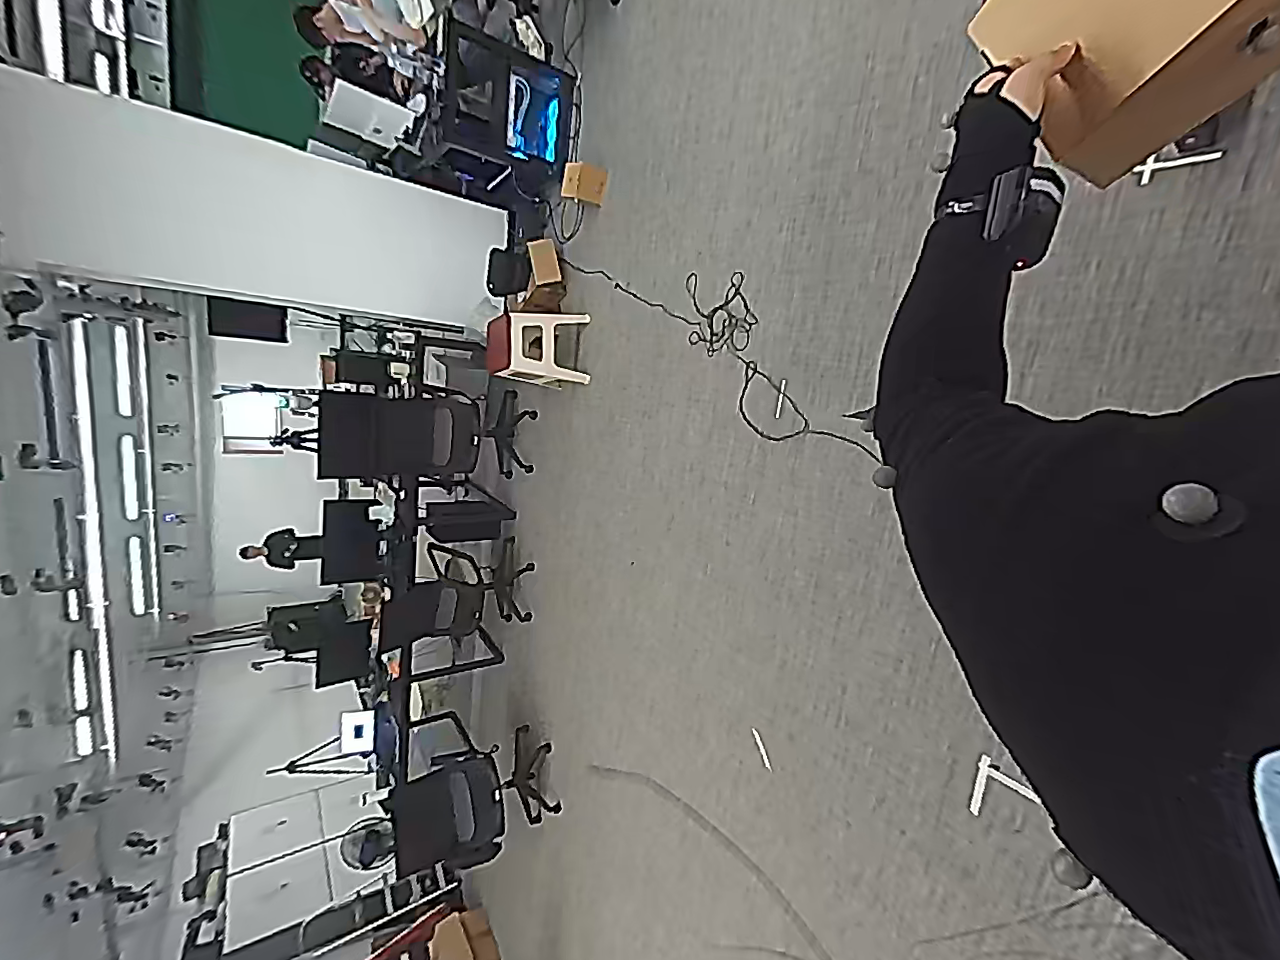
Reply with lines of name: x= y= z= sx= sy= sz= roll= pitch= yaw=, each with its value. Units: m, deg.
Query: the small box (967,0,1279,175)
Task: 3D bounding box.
small box: x=0.443 y=-0.410 z=0.478 sx=0.179 sy=0.176 sz=0.168 roll=-38 pitch=70 yaw=50
